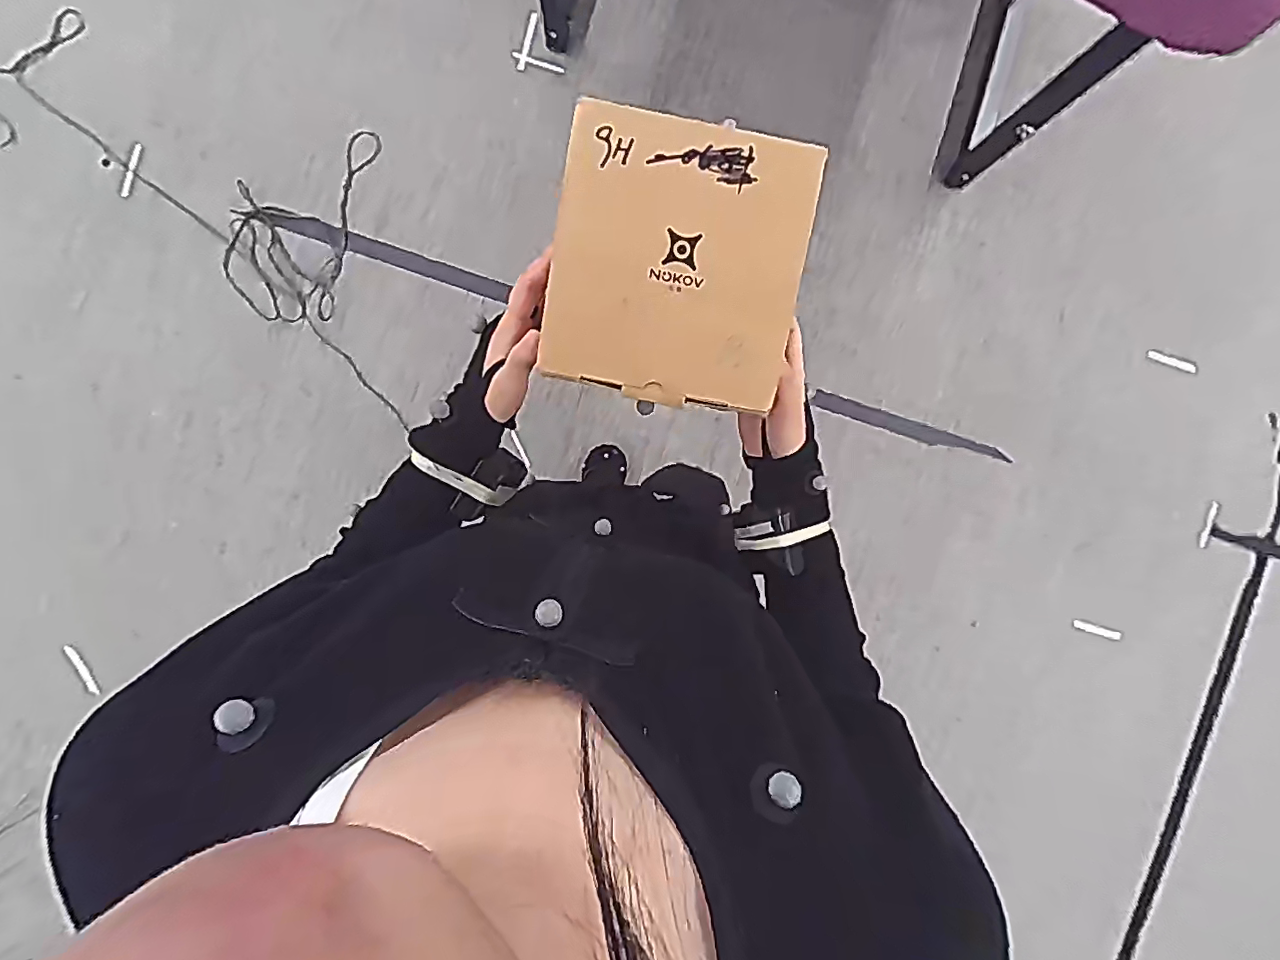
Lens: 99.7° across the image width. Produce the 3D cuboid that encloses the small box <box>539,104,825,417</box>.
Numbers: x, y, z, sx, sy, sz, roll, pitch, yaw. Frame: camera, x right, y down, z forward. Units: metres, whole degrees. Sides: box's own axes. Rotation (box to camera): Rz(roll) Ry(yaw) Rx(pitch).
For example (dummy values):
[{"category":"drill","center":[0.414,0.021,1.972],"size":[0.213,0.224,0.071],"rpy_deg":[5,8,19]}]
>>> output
[{"category":"small box","center":[0.025,-0.156,0.442],"size":[0.168,0.176,0.179],"rpy_deg":[11,99,-3]}]
